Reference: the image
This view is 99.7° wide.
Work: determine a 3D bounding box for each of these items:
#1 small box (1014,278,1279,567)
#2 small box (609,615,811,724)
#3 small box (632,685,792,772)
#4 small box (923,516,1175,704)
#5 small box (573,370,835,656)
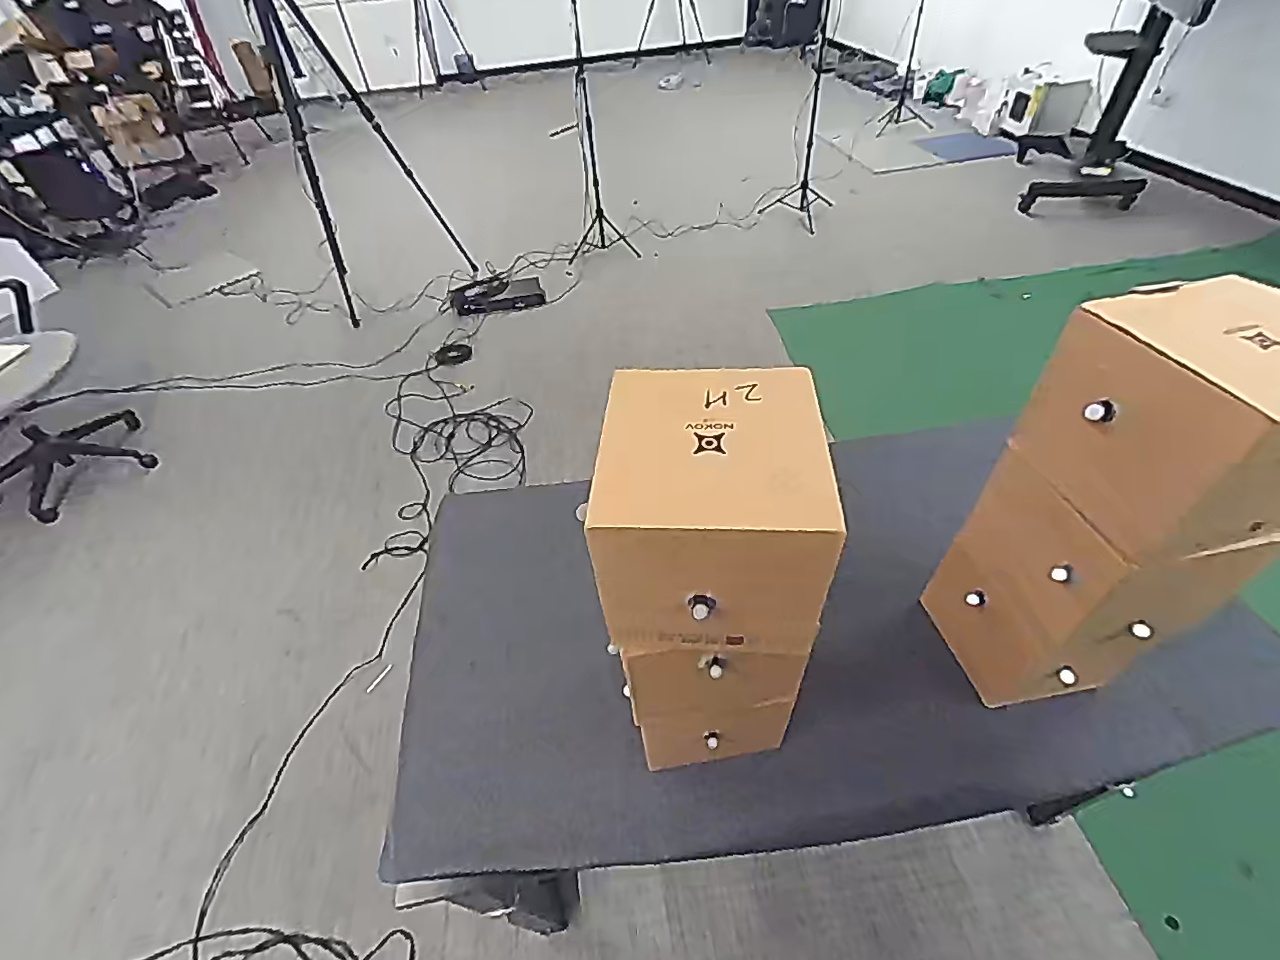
[{"bbox_3d":[0.485,-0.052,0.478,0.168,0.176,0.179,-12,45,-5],"label":"small box"},{"bbox_3d":[0.059,0.138,0.569,0.179,0.176,0.168,-7,47,-3],"label":"small box"},{"bbox_3d":[0.073,0.248,0.688,0.179,0.176,0.168,-9,46,-2],"label":"small box"},{"bbox_3d":[0.512,0.176,0.712,0.168,0.176,0.179,-9,45,-3],"label":"small box"},{"bbox_3d":[0.051,0.029,0.446,0.168,0.176,0.179,1,47,6],"label":"small box"}]
